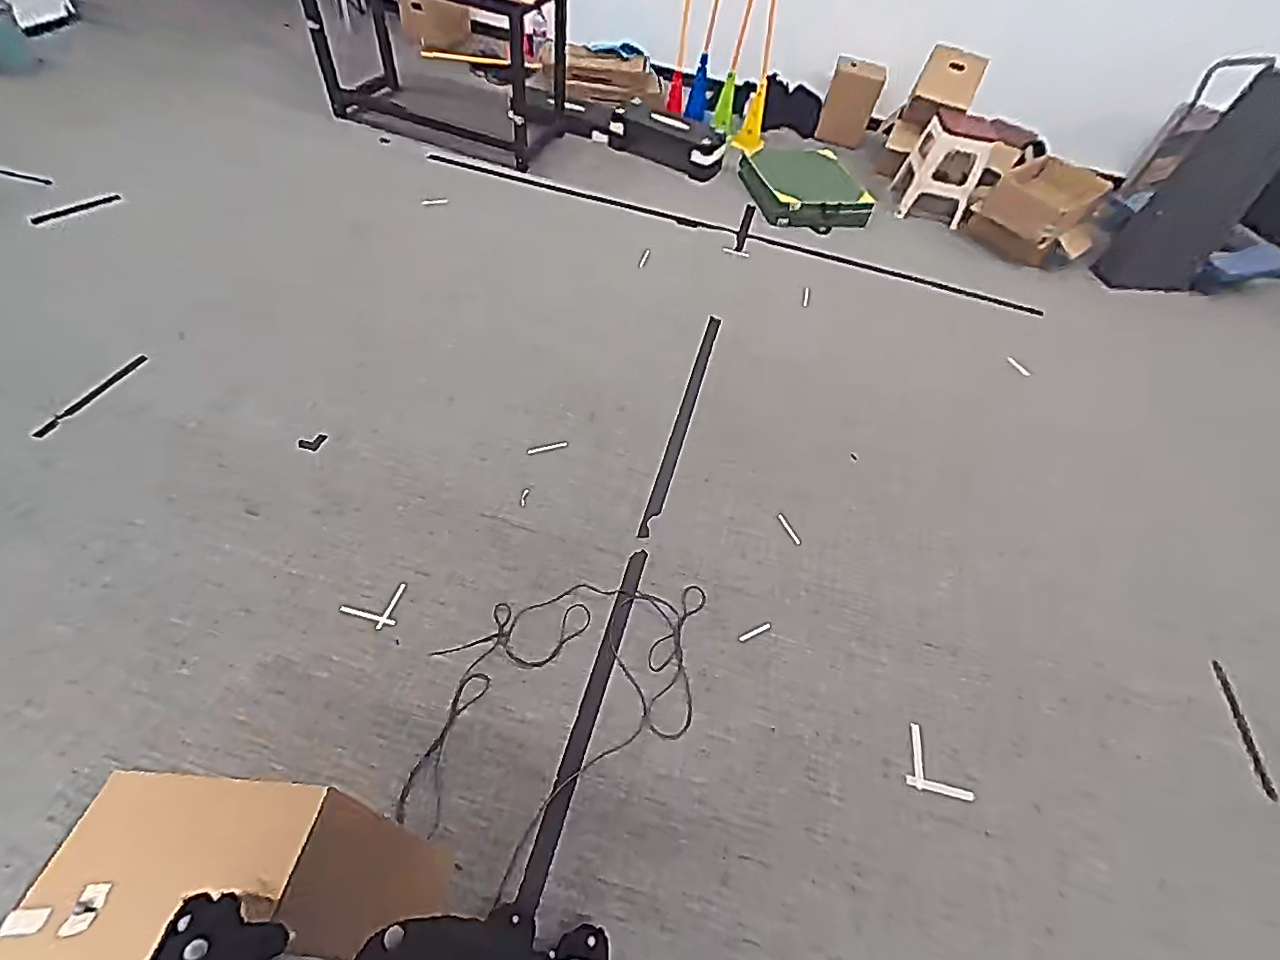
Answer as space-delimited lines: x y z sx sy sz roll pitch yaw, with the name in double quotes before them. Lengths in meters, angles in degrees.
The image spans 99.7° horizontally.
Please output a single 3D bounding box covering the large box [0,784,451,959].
"large box" -0.510 0.624 0.703 0.320 0.408 0.320 0 46 10
